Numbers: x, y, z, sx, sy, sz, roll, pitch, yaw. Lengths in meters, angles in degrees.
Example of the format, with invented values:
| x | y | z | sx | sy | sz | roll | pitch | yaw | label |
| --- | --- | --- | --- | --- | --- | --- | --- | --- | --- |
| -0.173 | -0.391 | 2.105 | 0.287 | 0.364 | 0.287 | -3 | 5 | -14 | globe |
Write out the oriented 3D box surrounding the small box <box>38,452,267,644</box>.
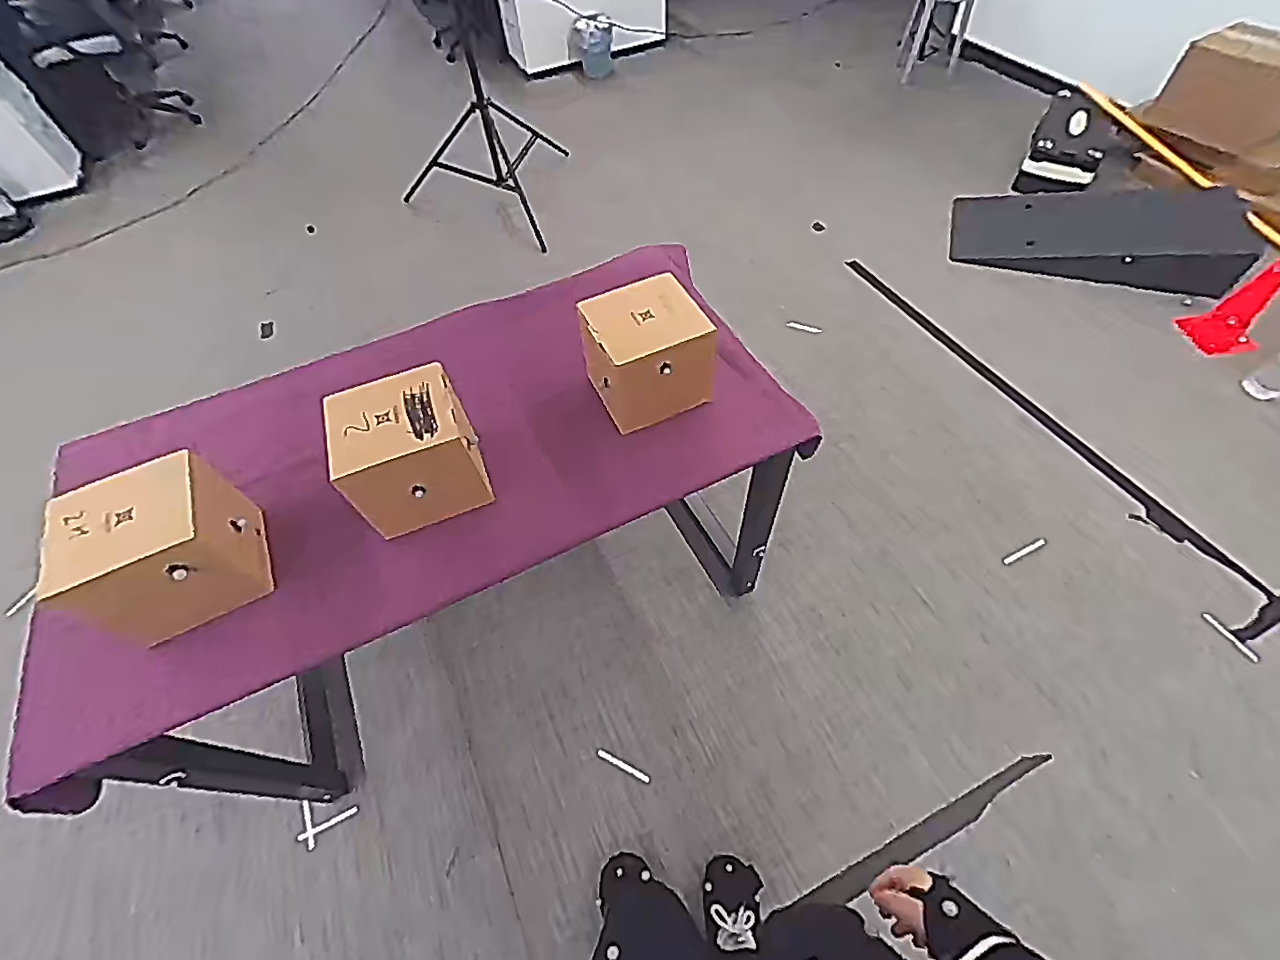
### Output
| x | y | z | sx | sy | sz | roll | pitch | yaw | label |
| --- | --- | --- | --- | --- | --- | --- | --- | --- | --- |
| -0.654 | 0.098 | 0.752 | 0.179 | 0.176 | 0.168 | -26 | 57 | -13 | small box |

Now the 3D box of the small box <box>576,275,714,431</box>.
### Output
| x | y | z | sx | sy | sz | roll | pitch | yaw | label |
| --- | --- | --- | --- | --- | --- | --- | --- | --- | --- |
| 0.010 | -0.211 | 0.924 | 0.179 | 0.176 | 0.168 | -22 | 58 | -12 | small box |
